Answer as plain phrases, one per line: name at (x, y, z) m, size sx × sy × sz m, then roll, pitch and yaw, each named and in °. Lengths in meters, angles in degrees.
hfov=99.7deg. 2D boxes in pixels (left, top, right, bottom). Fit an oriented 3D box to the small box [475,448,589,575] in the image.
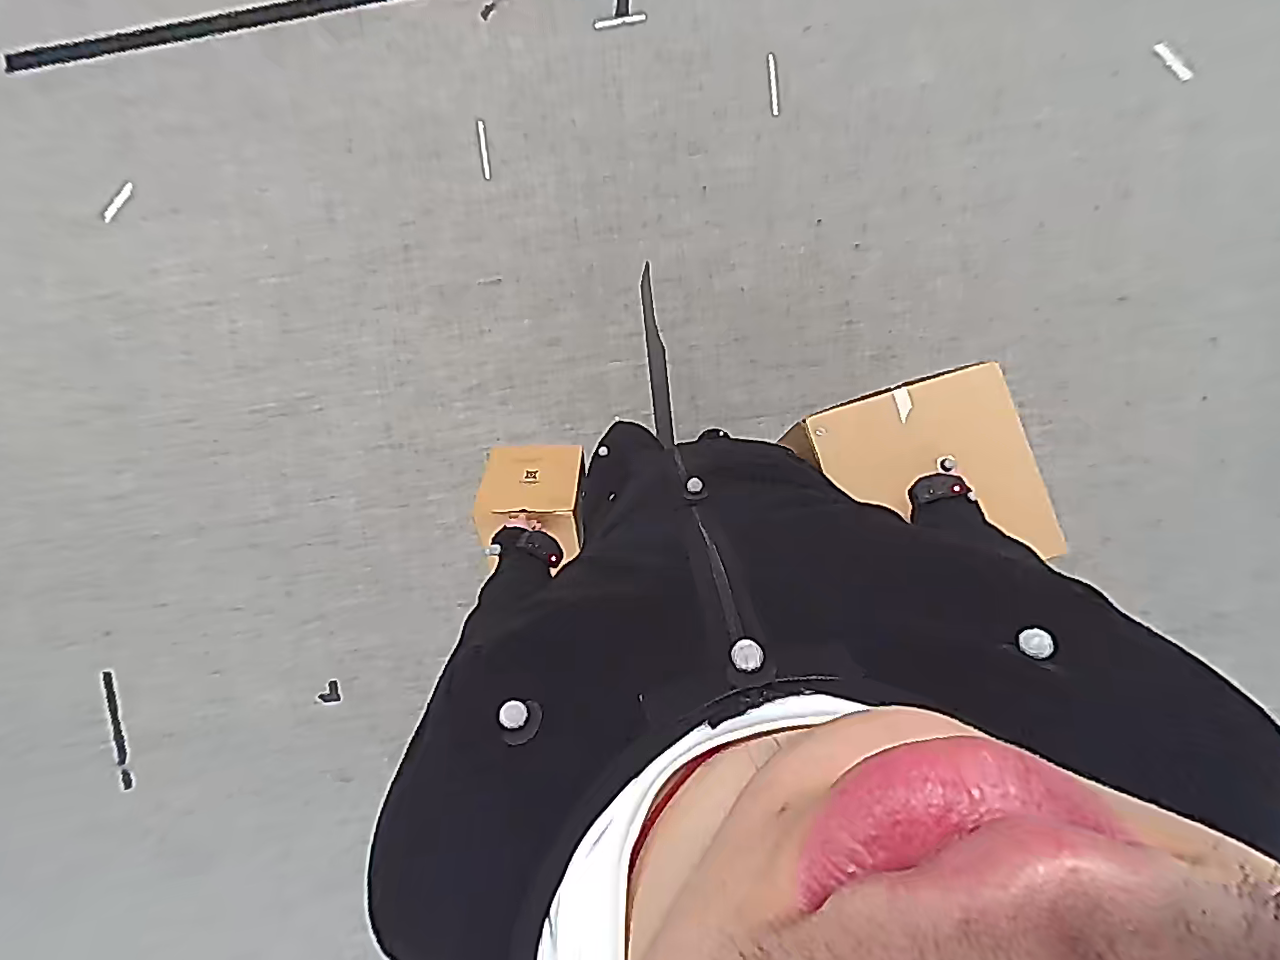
small box at (-0.185, 0.059, 0.986) m, size 0.168 × 0.179 × 0.176 m, roll 0°, pitch 131°, yaw 0°
